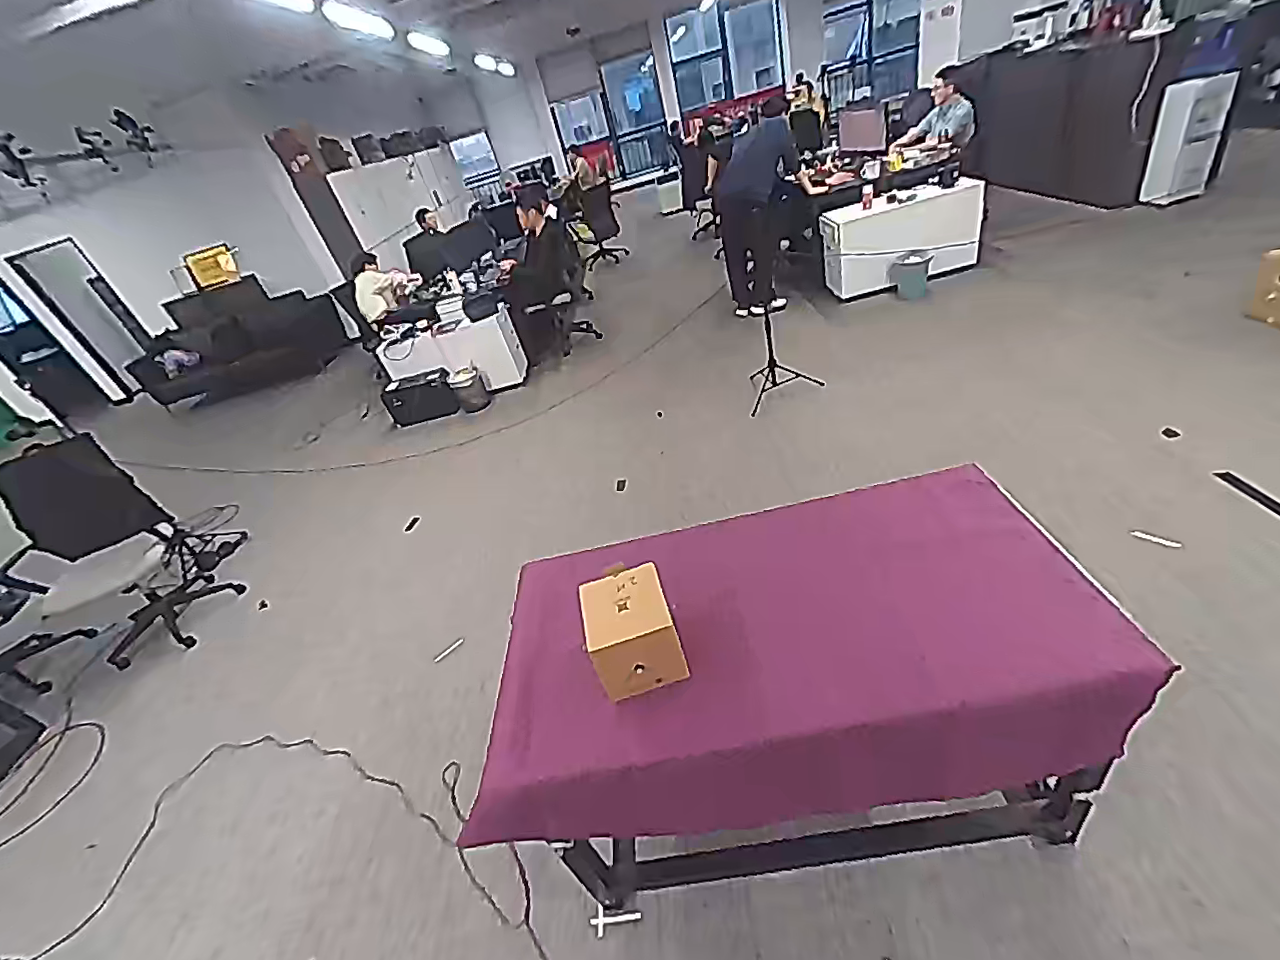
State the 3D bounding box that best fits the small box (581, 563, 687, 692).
[{"bbox_3d":[-0.012,0.307,1.104,0.168,0.176,0.179,-17,34,-1],"label":"small box"}]
